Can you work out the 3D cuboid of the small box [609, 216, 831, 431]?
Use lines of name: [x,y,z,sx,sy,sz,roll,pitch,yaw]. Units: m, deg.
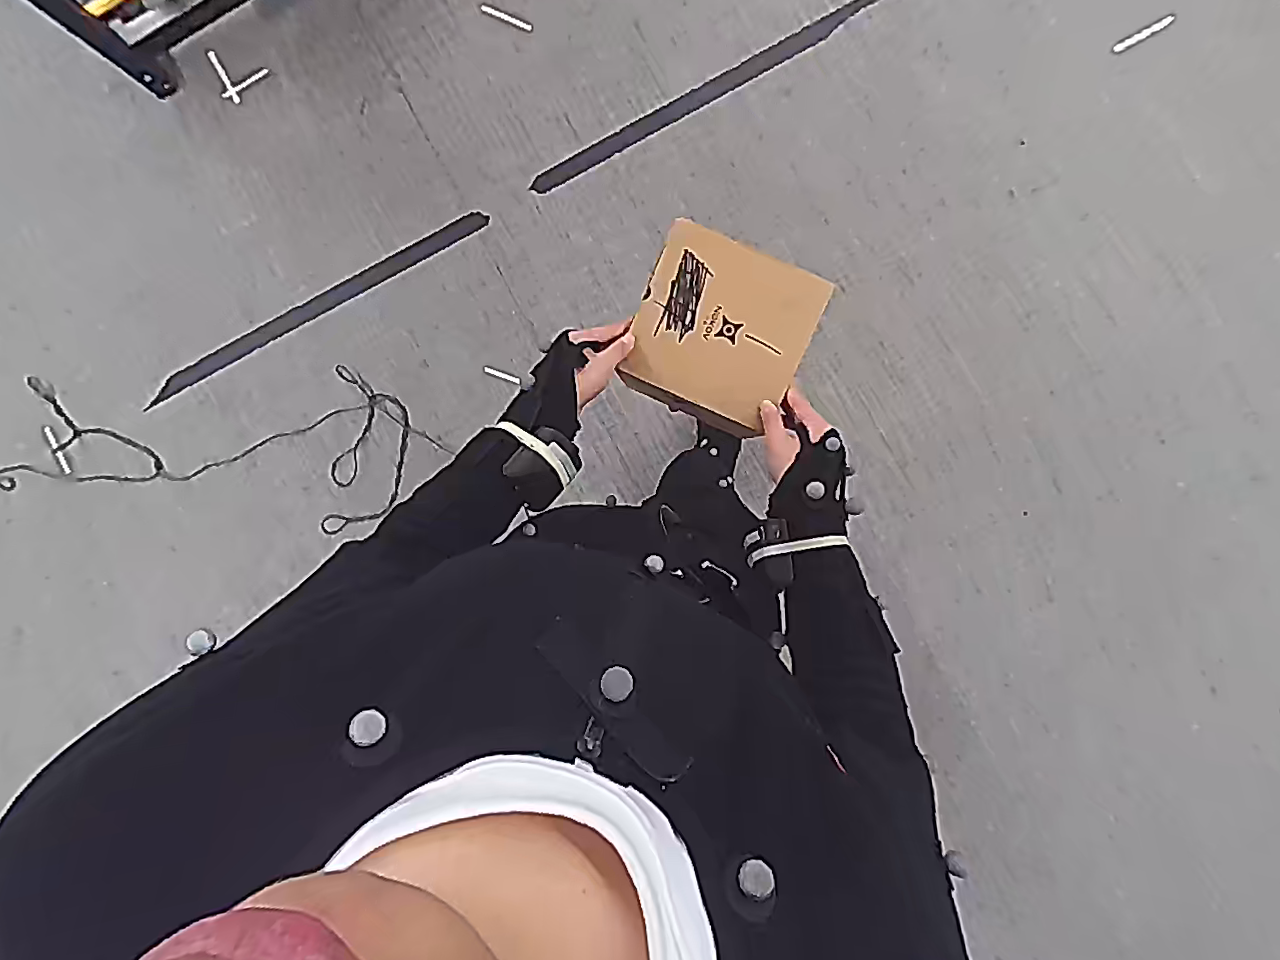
small box: [0.083,-0.160,0.619,0.179,0.176,0.168,24,94,2]
